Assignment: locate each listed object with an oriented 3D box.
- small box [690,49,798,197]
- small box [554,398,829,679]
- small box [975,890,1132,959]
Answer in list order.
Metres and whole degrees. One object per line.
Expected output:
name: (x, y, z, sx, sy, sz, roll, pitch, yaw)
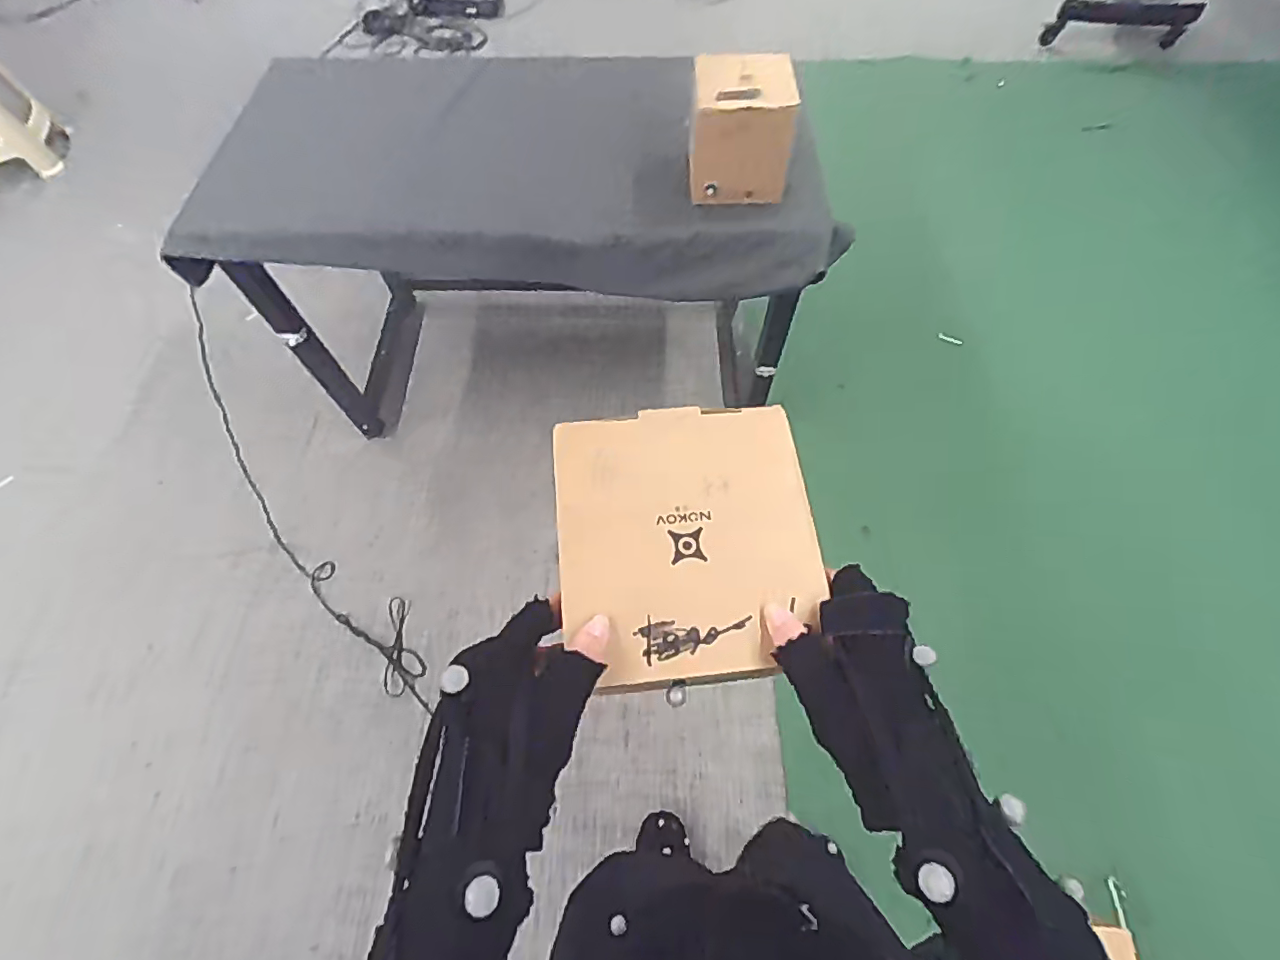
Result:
small box: (0.179, -0.635, 0.974, 0.168, 0.176, 0.179, 1, 61, 2)
small box: (0.025, 0.056, 0.428, 0.168, 0.176, 0.179, -5, 69, -3)
small box: (0.770, 0.883, 1.005, 0.179, 0.176, 0.168, 2, 62, 3)
